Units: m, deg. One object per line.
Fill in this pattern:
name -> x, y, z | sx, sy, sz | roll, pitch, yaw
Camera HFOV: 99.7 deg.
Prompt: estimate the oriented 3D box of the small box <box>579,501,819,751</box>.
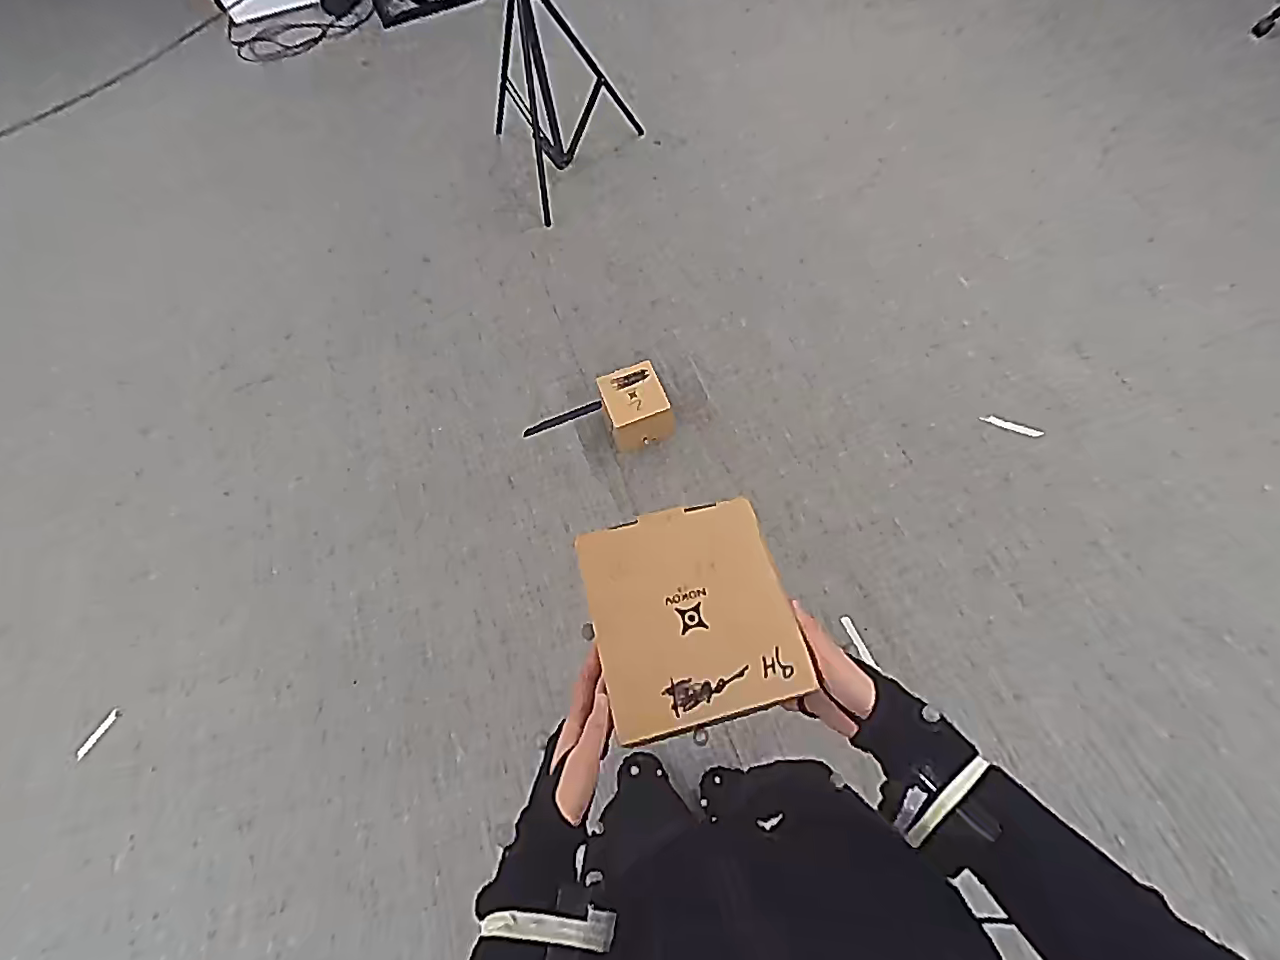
small box -> 0.041, 0.146, 0.521 | 0.168, 0.176, 0.179 | -13, 63, -7
